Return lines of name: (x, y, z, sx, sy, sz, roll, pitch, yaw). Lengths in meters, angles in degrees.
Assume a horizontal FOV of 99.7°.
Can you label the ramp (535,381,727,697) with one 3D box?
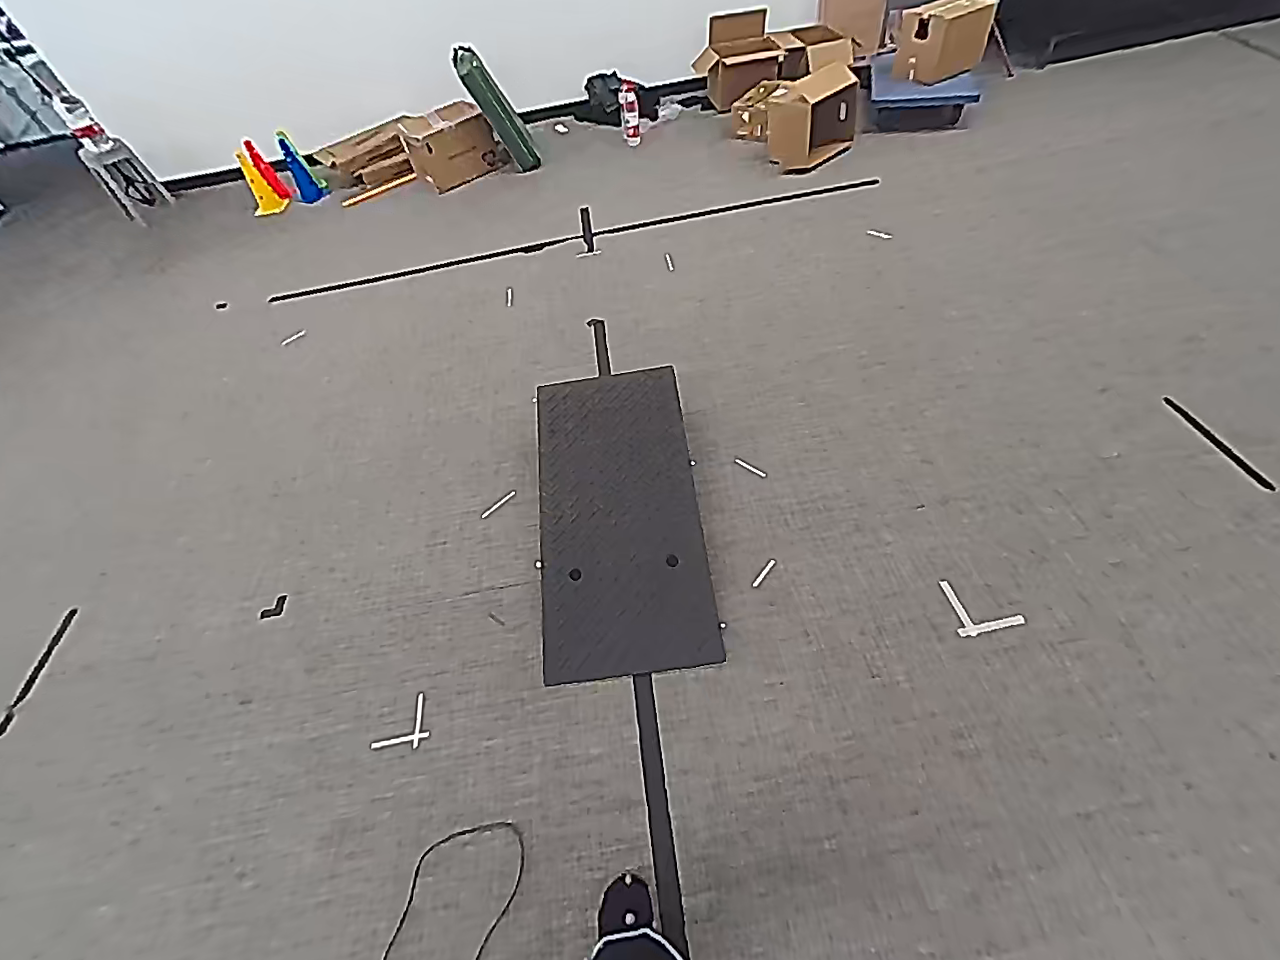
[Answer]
ramp: (-0.068, 0.116, 1.685, 0.509, 0.206, 0.991, -10, 50, 0)
